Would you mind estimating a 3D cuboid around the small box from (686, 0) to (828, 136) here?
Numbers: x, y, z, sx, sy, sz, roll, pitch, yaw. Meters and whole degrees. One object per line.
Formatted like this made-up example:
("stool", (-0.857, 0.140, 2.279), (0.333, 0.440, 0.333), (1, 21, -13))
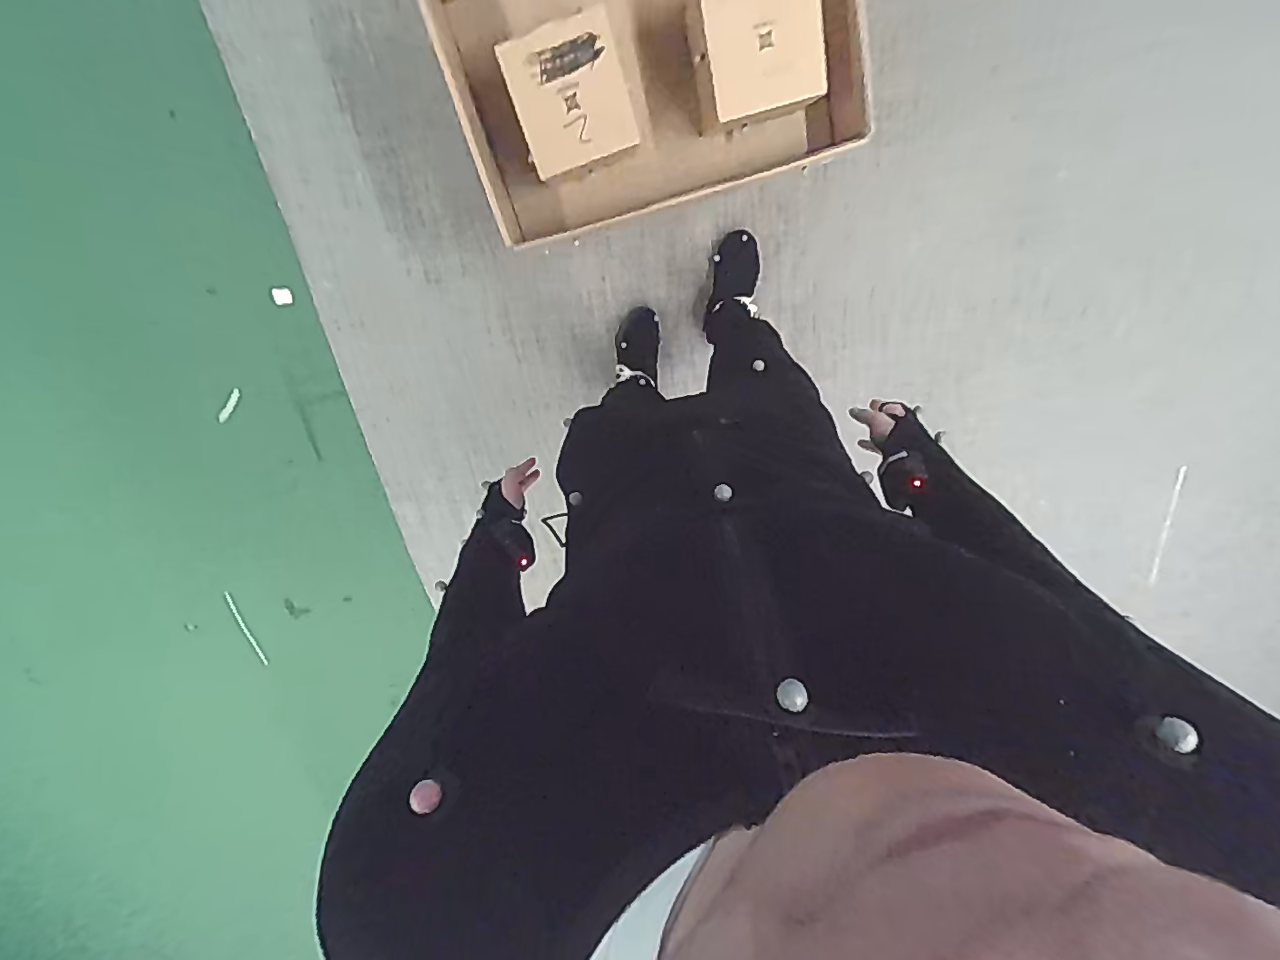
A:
("small box", (0.172, -0.659, 0.828), (0.168, 0.176, 0.179), (-13, 114, 4))
